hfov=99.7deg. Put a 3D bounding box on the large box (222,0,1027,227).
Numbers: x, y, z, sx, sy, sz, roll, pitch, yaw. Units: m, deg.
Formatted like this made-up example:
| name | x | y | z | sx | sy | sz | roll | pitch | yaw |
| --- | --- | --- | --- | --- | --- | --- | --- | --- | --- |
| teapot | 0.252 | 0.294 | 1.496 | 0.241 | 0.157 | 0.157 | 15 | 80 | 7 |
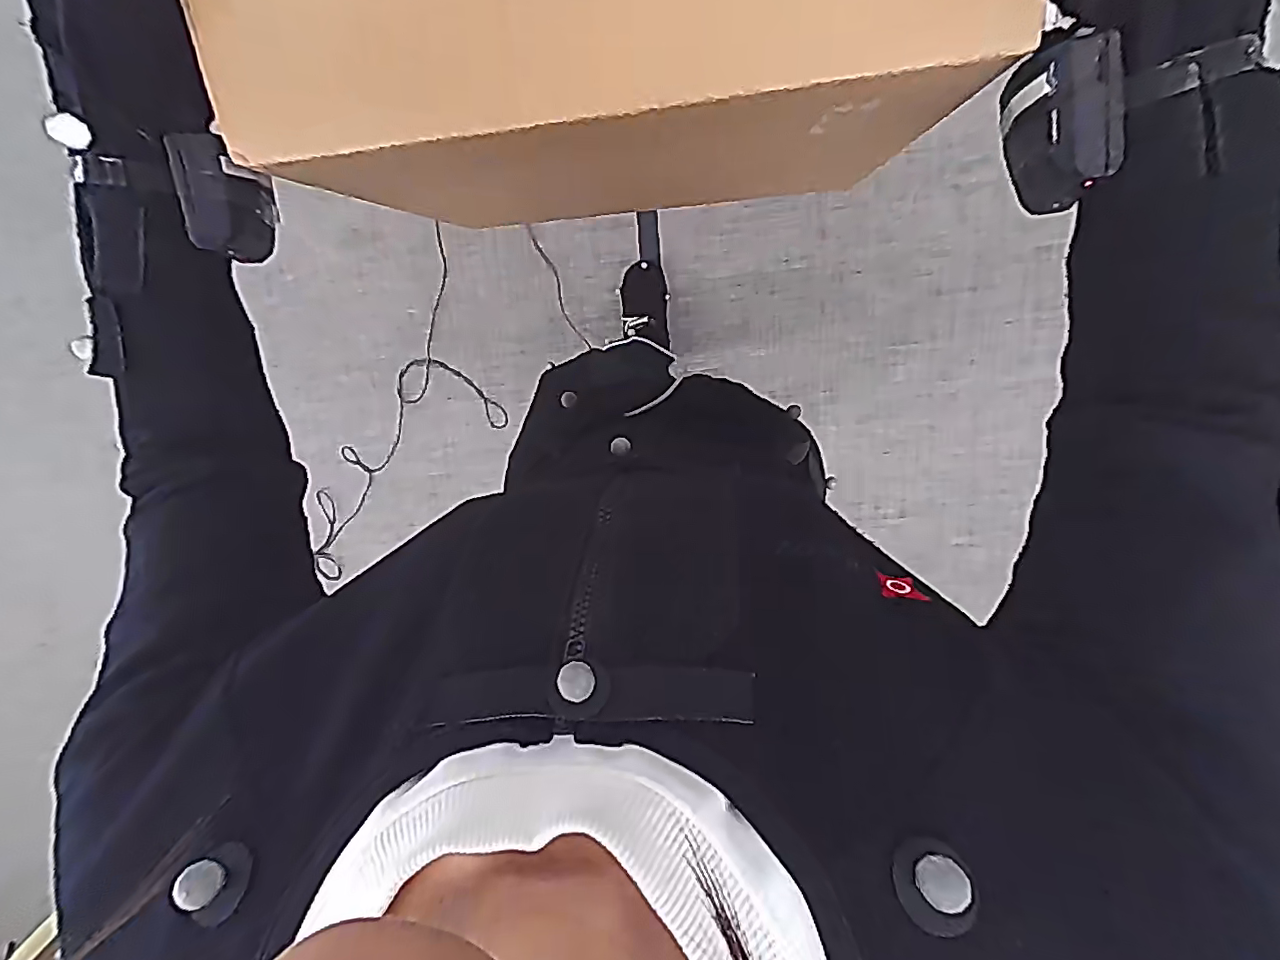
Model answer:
| name | x | y | z | sx | sy | sz | roll | pitch | yaw |
| --- | --- | --- | --- | --- | --- | --- | --- | --- | --- |
| large box | -0.017 | -0.386 | 0.375 | 0.408 | 0.320 | 0.320 | -4 | 109 | 7 |
